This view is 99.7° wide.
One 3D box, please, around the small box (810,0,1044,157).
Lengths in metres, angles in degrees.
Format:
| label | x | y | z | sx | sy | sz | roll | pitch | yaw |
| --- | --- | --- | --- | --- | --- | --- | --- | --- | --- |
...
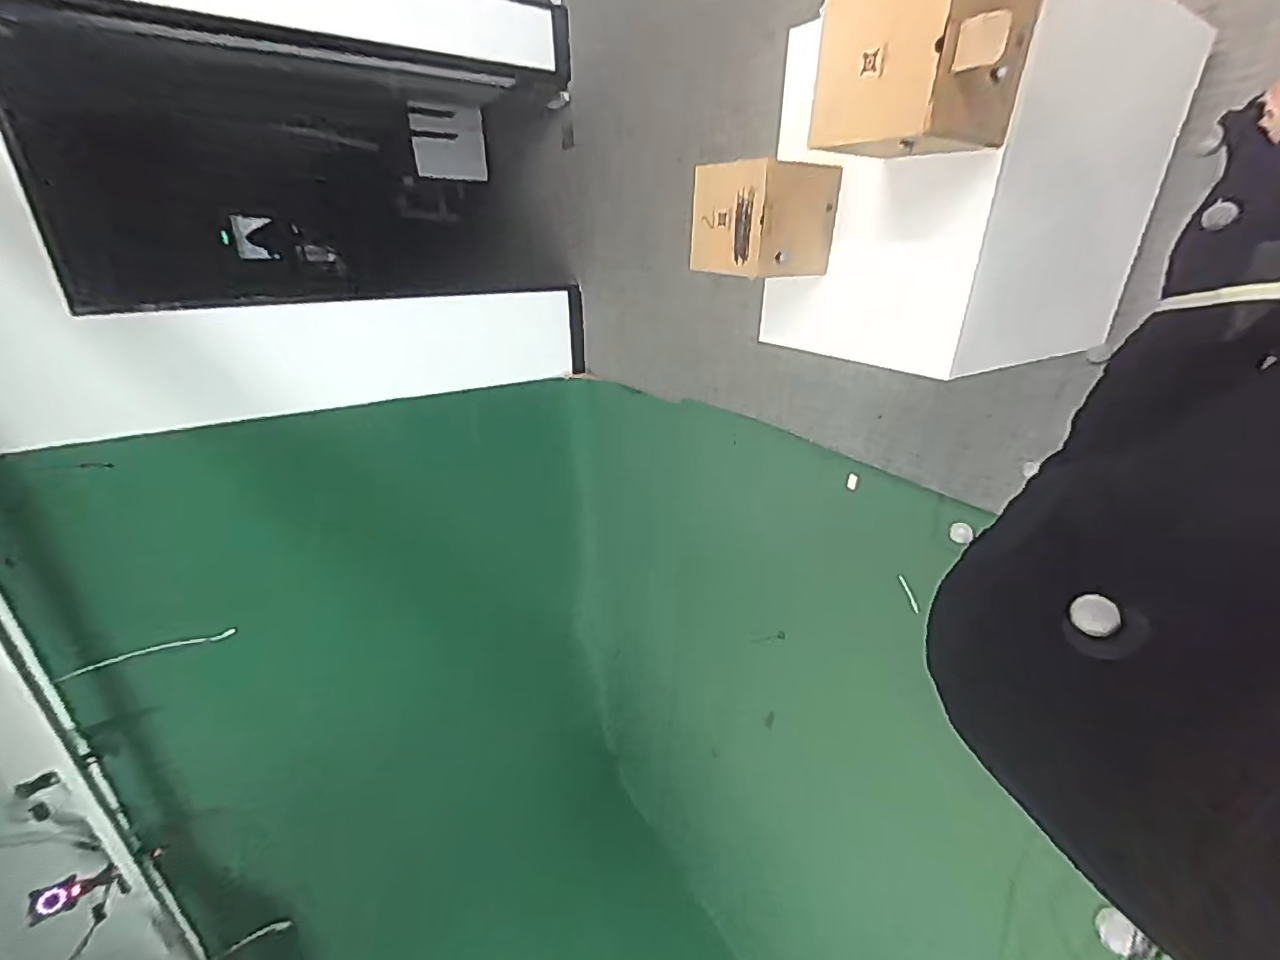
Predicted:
| label | x | y | z | sx | sy | sz | roll | pitch | yaw |
| --- | --- | --- | --- | --- | --- | --- | --- | --- | --- |
| small box | 0.345 | -0.508 | 0.670 | 0.179 | 0.176 | 0.168 | 35 | 131 | 50 |
